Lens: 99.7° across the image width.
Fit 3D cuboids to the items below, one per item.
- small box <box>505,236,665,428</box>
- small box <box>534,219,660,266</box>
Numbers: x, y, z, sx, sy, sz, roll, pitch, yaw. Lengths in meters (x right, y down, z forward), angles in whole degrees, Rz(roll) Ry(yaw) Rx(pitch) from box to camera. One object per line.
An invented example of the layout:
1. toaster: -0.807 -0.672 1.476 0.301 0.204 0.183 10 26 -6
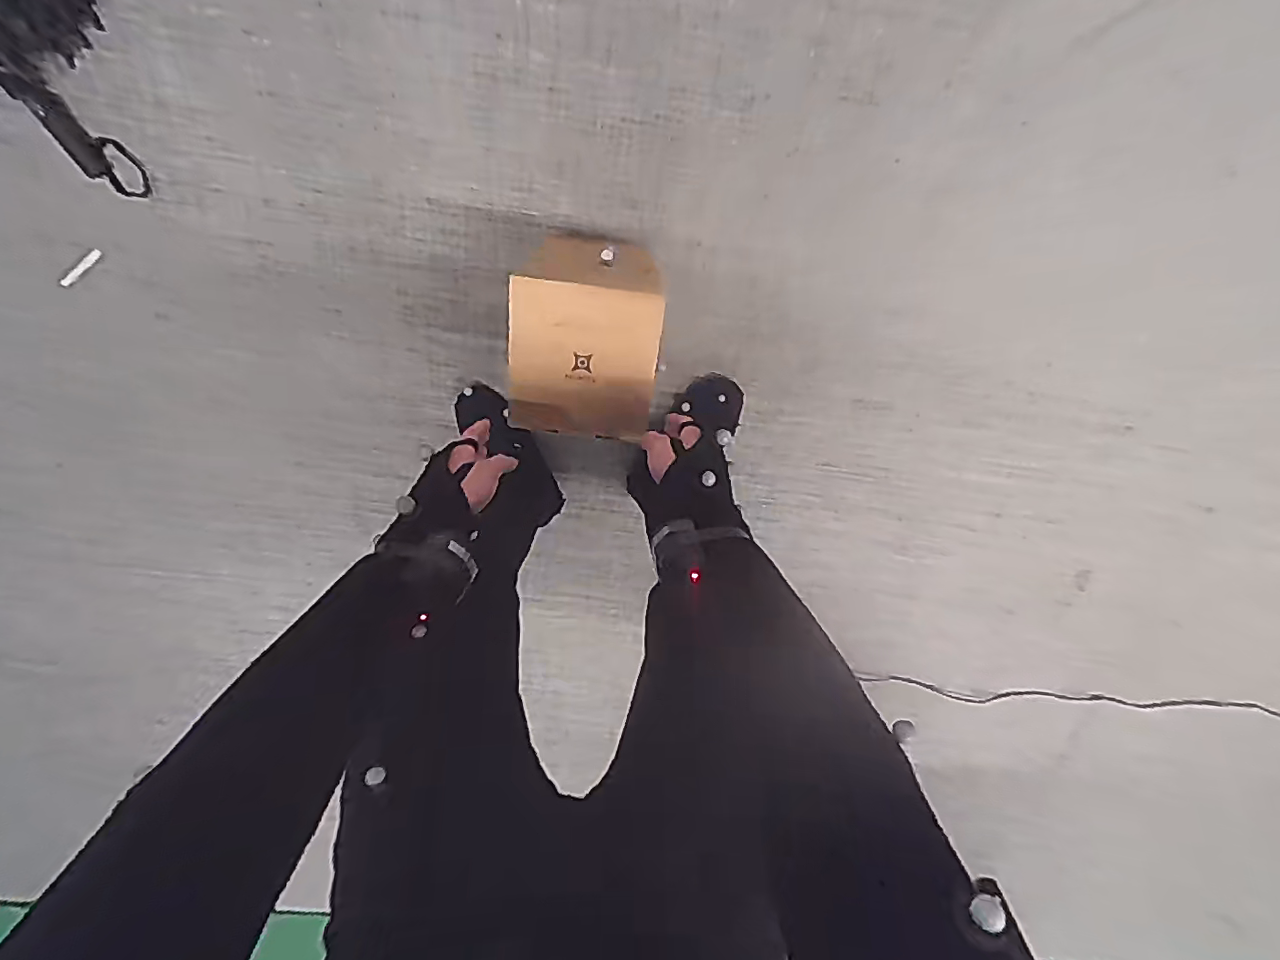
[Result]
1. small box: -0.064 -0.184 0.659 0.168 0.176 0.179 6 120 -4
2. small box: -0.064 -0.269 0.797 0.168 0.176 0.179 6 122 -4
